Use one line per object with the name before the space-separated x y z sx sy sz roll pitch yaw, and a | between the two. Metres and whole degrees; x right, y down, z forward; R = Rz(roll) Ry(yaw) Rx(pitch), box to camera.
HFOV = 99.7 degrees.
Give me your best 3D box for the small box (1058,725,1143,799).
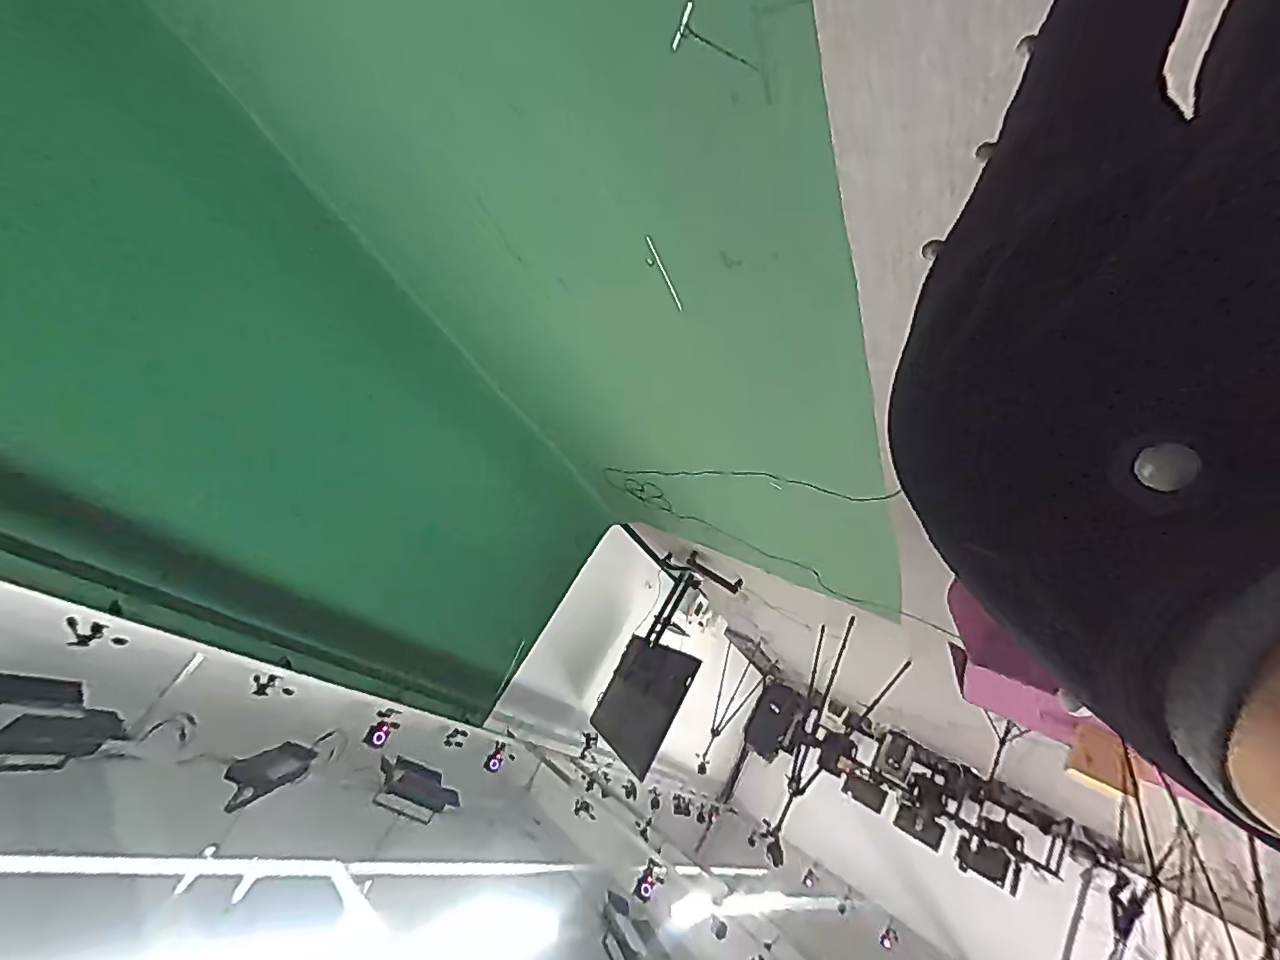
small box | 1.601 0.975 1.885 0.179 0.176 0.168 20 159 35
